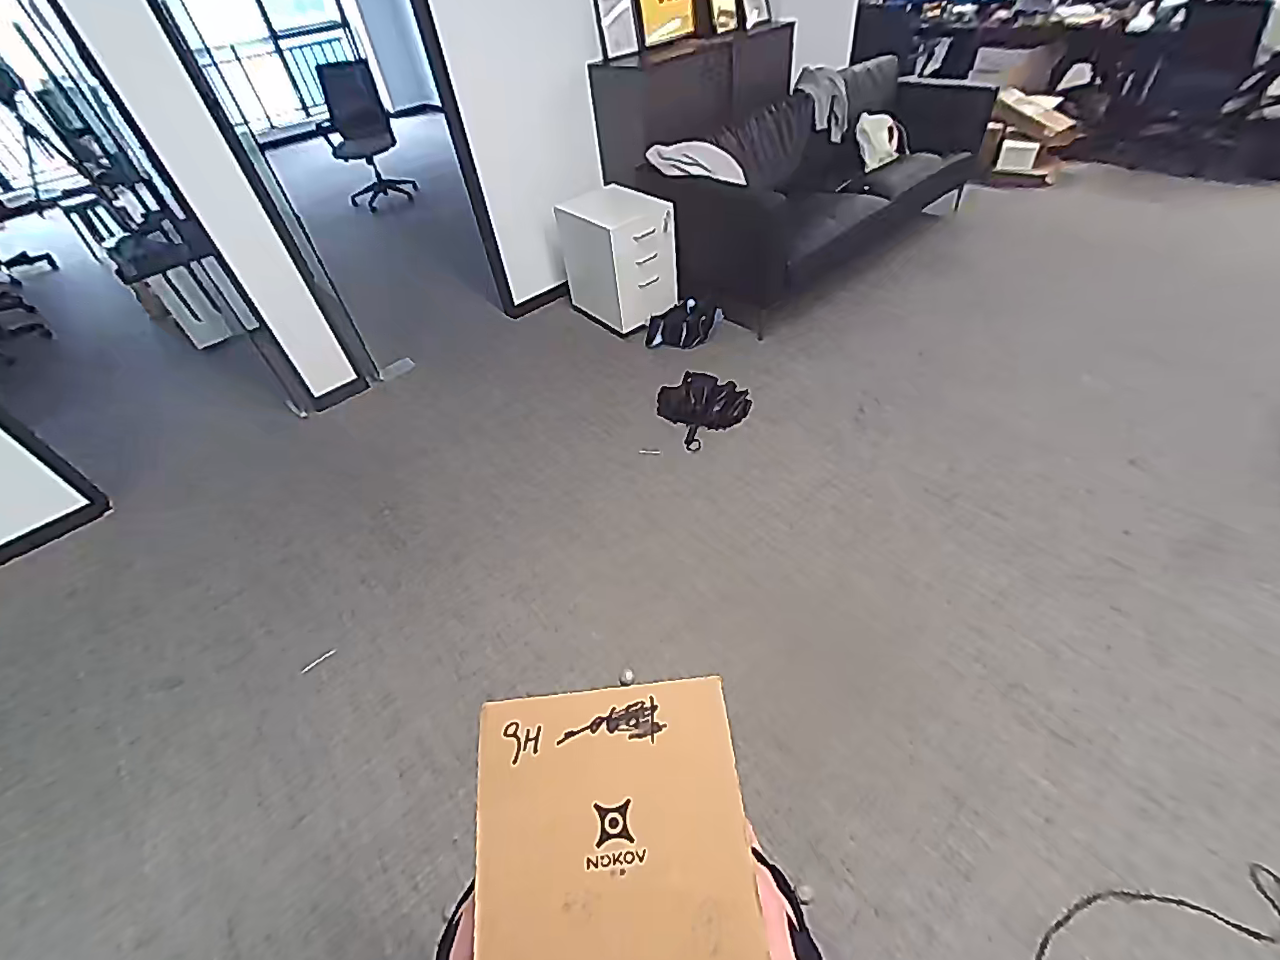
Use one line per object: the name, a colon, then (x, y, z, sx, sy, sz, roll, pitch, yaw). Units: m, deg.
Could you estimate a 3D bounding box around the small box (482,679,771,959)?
small box: (-0.013, 0.256, 0.401, 0.168, 0.176, 0.179, -5, 62, -4)
